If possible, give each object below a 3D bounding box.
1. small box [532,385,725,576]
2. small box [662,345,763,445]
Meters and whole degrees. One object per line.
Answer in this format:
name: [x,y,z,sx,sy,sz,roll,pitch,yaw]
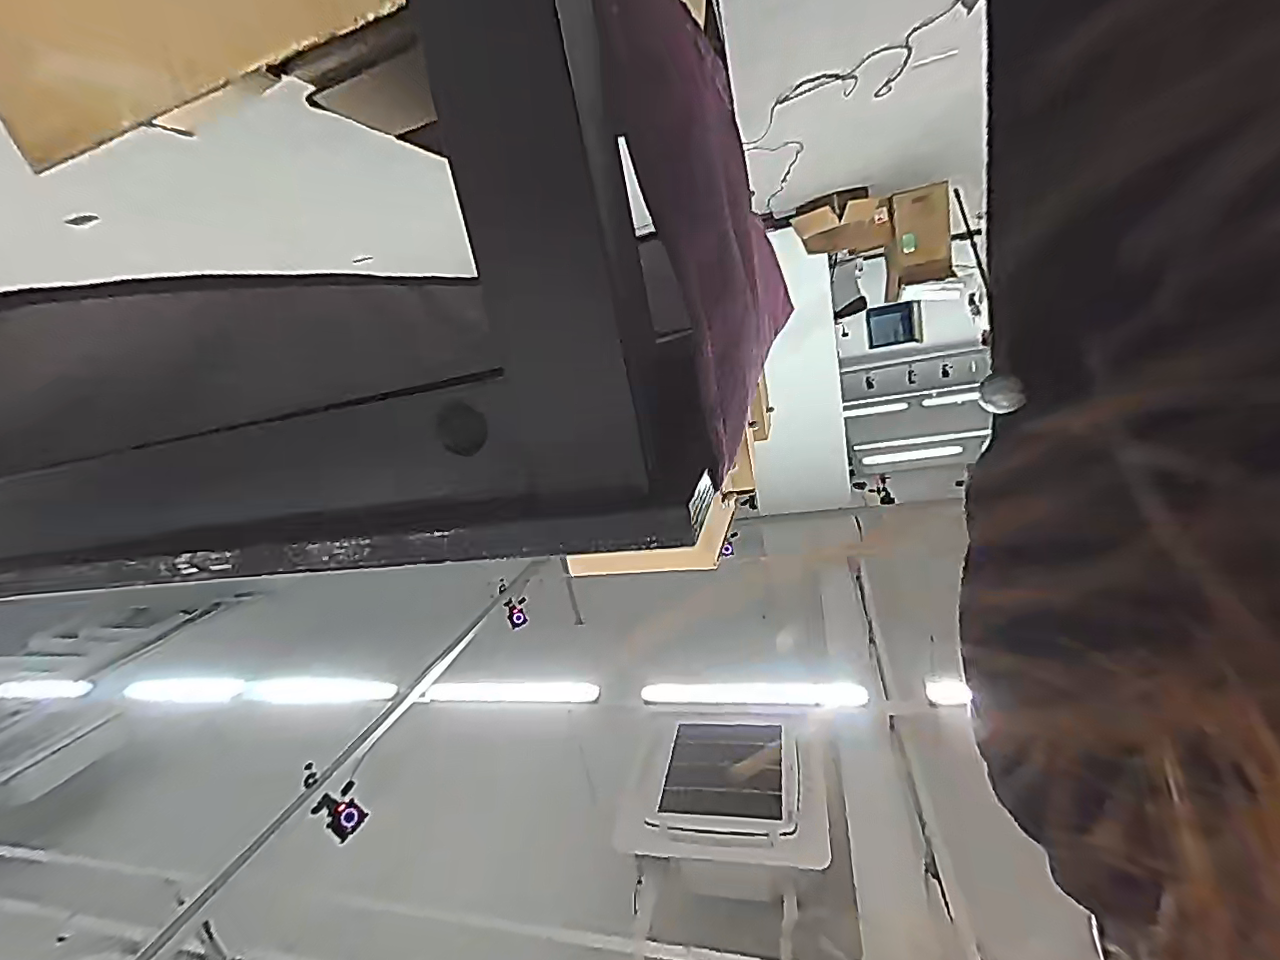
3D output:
small box: [-0.002,-0.008,0.619,0.168,0.176,0.179,-7,-164,18]
small box: [0.152,-0.171,1.083,0.168,0.176,0.179,-8,-165,17]
